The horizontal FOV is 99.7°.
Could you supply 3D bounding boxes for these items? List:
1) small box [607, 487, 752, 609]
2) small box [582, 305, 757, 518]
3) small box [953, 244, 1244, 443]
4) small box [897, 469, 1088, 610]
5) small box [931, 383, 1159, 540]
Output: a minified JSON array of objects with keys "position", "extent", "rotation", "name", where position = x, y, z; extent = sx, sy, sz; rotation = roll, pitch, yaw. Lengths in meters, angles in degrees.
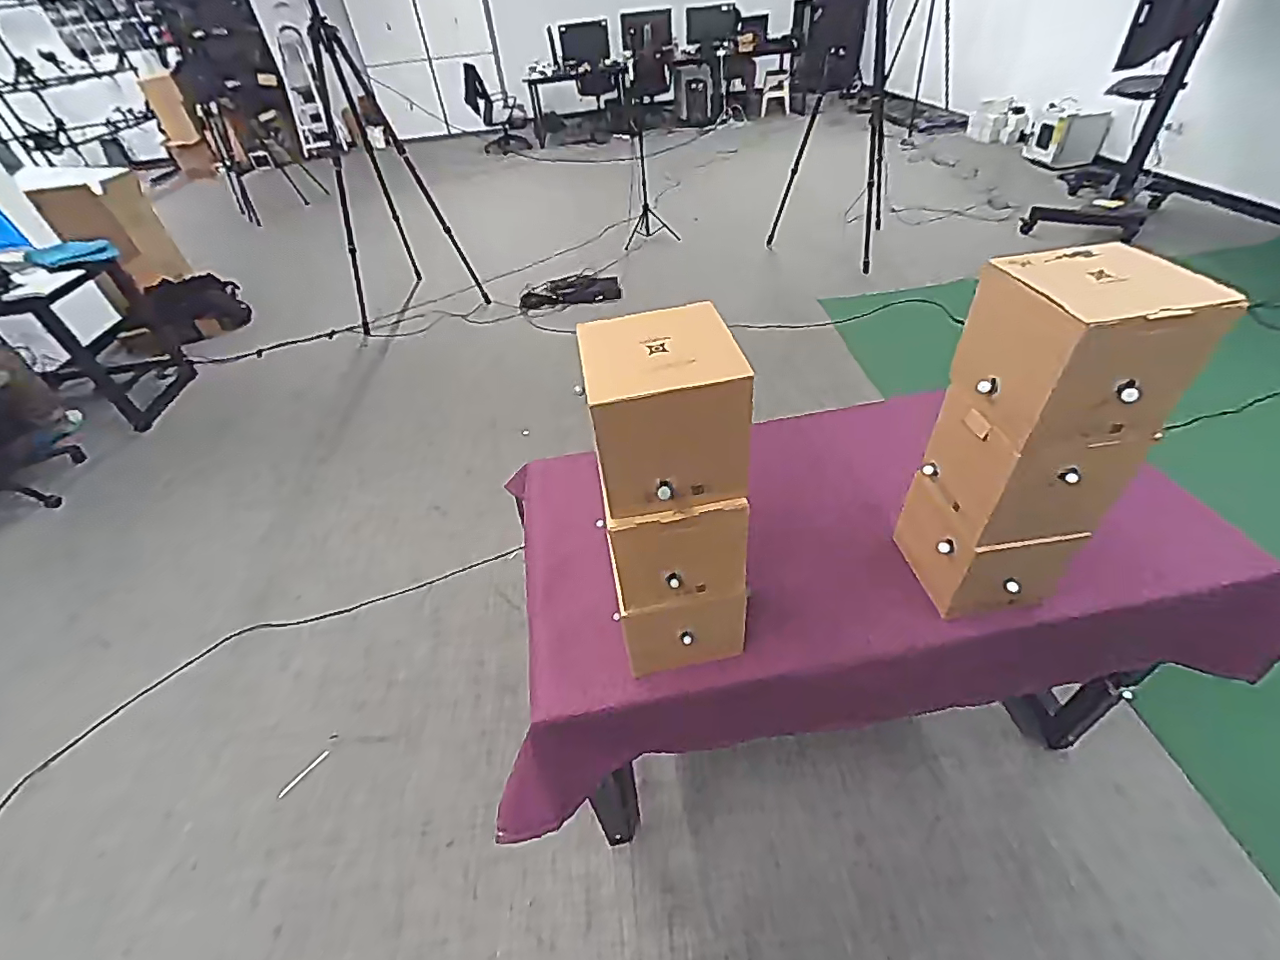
[{"position":[0.044,0.046,0.735],"extent":[0.168,0.176,0.179],"rotation":[-10,43,-3],"name":"small box"},{"position":[0.029,-0.081,0.634],"extent":[0.168,0.176,0.179],"rotation":[-10,43,-2],"name":"small box"},{"position":[0.517,-0.157,0.647],"extent":[0.168,0.176,0.179],"rotation":[-7,43,-1],"name":"small box"},{"position":[0.541,0.092,0.862],"extent":[0.168,0.176,0.179],"rotation":[-8,42,-1],"name":"small box"},{"position":[0.534,-0.032,0.753],"extent":[0.179,0.176,0.168],"rotation":[-7,43,-1],"name":"small box"}]
